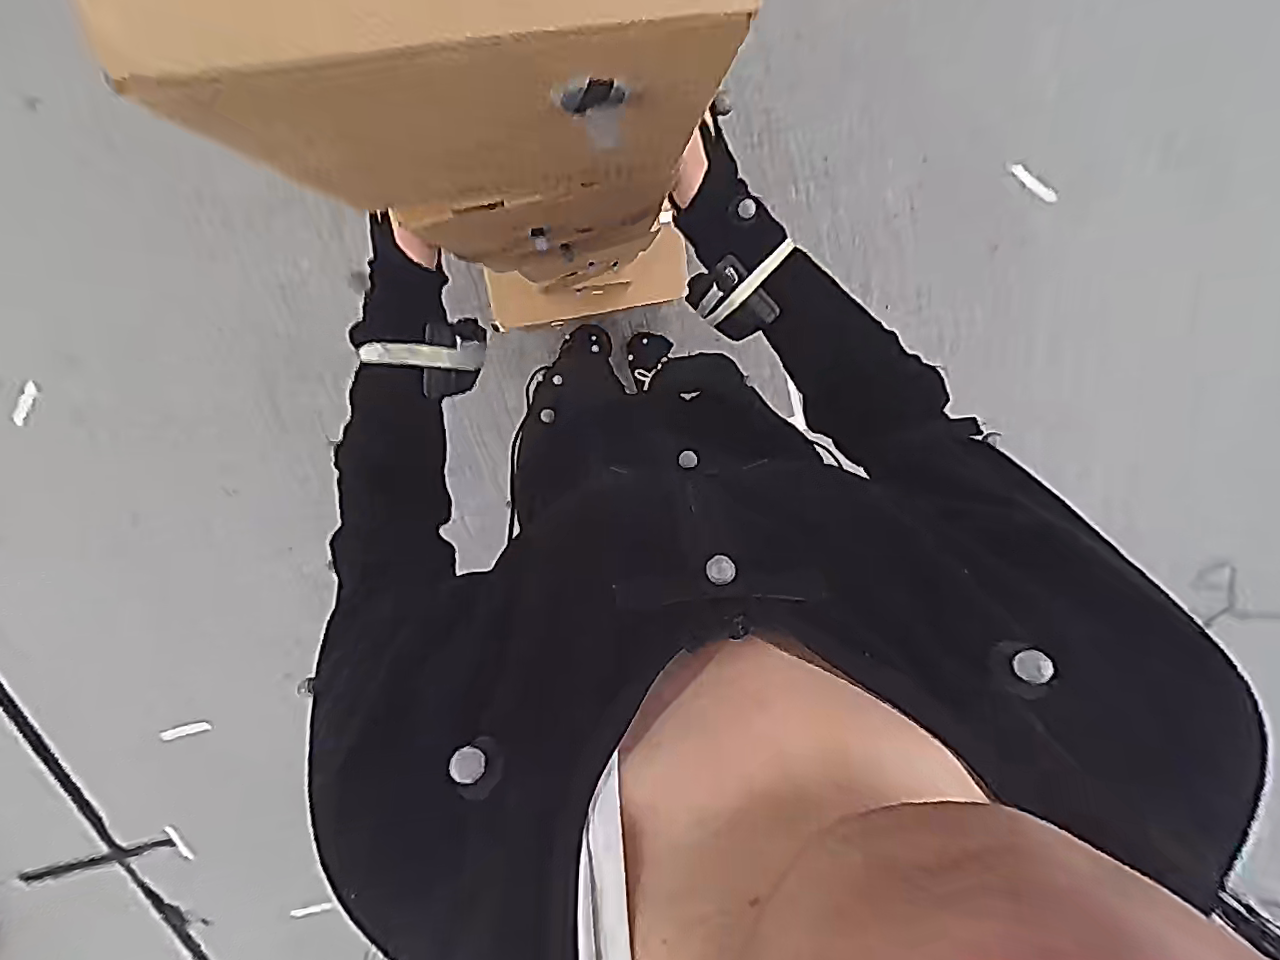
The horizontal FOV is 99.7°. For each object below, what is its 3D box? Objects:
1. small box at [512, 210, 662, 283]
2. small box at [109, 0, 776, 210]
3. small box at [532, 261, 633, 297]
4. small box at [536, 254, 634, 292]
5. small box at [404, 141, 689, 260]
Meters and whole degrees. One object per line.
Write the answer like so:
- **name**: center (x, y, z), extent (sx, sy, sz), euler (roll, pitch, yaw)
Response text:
- **small box**: center (-0.086, -0.355, 0.671), extent (0.179, 0.176, 0.168), euler (-17, 106, -1)
- **small box**: center (-0.065, -0.213, 0.200), extent (0.179, 0.176, 0.168), euler (-9, 106, -2)
- **small box**: center (-0.112, -0.431, 0.987), extent (0.179, 0.176, 0.168), euler (-8, 107, -3)
- **small box**: center (-0.108, -0.400, 0.827), extent (0.168, 0.176, 0.179), euler (-23, 105, 1)
- **small box**: center (-0.076, -0.261, 0.357), extent (0.168, 0.176, 0.179), euler (-14, 107, -1)
